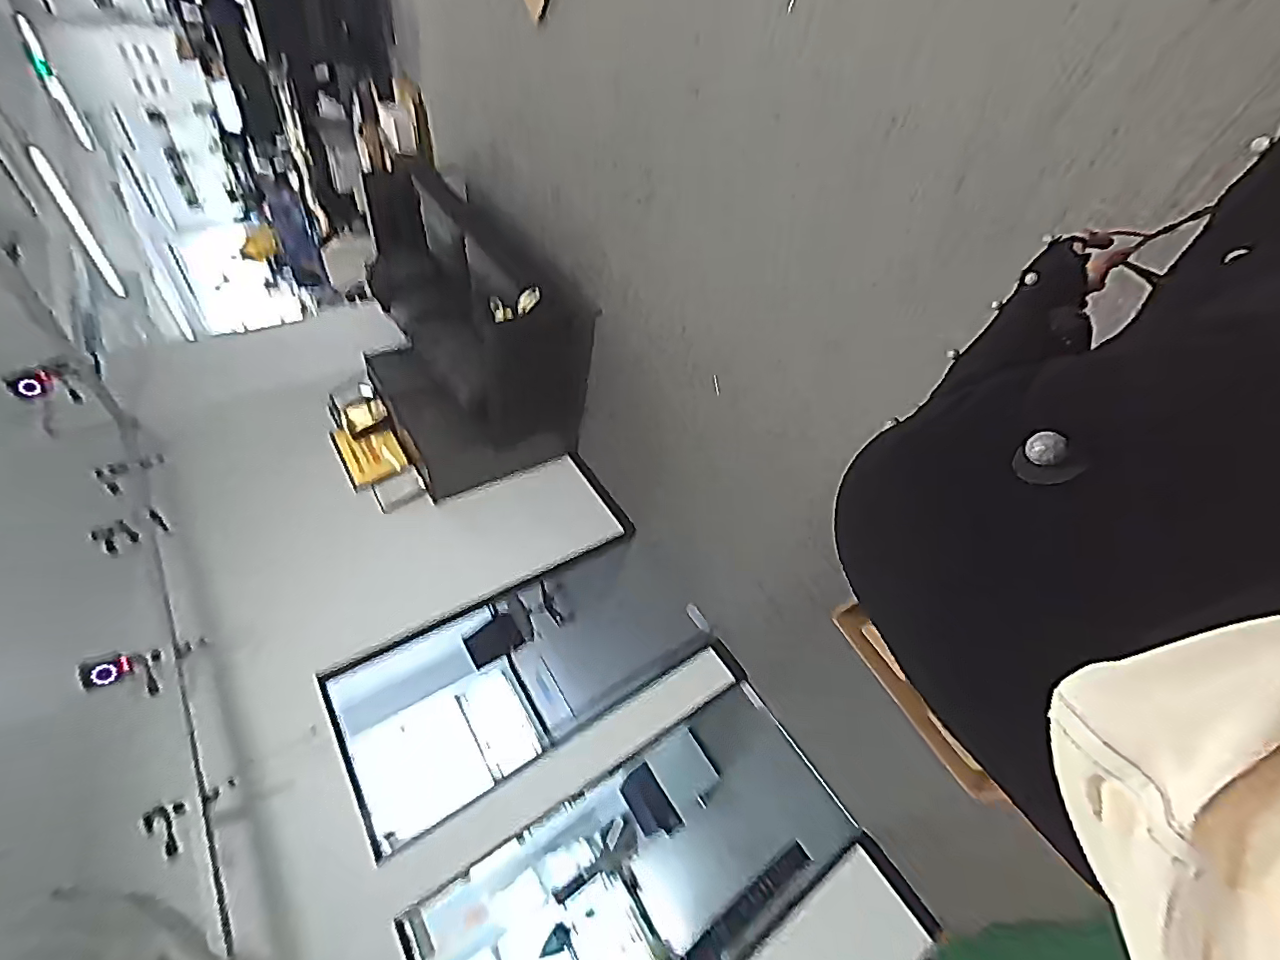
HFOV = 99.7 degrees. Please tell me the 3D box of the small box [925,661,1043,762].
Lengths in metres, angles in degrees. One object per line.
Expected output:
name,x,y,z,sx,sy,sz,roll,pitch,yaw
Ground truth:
small box,0.930,0.624,1.461,0.179,0.176,0.168,55,150,21
